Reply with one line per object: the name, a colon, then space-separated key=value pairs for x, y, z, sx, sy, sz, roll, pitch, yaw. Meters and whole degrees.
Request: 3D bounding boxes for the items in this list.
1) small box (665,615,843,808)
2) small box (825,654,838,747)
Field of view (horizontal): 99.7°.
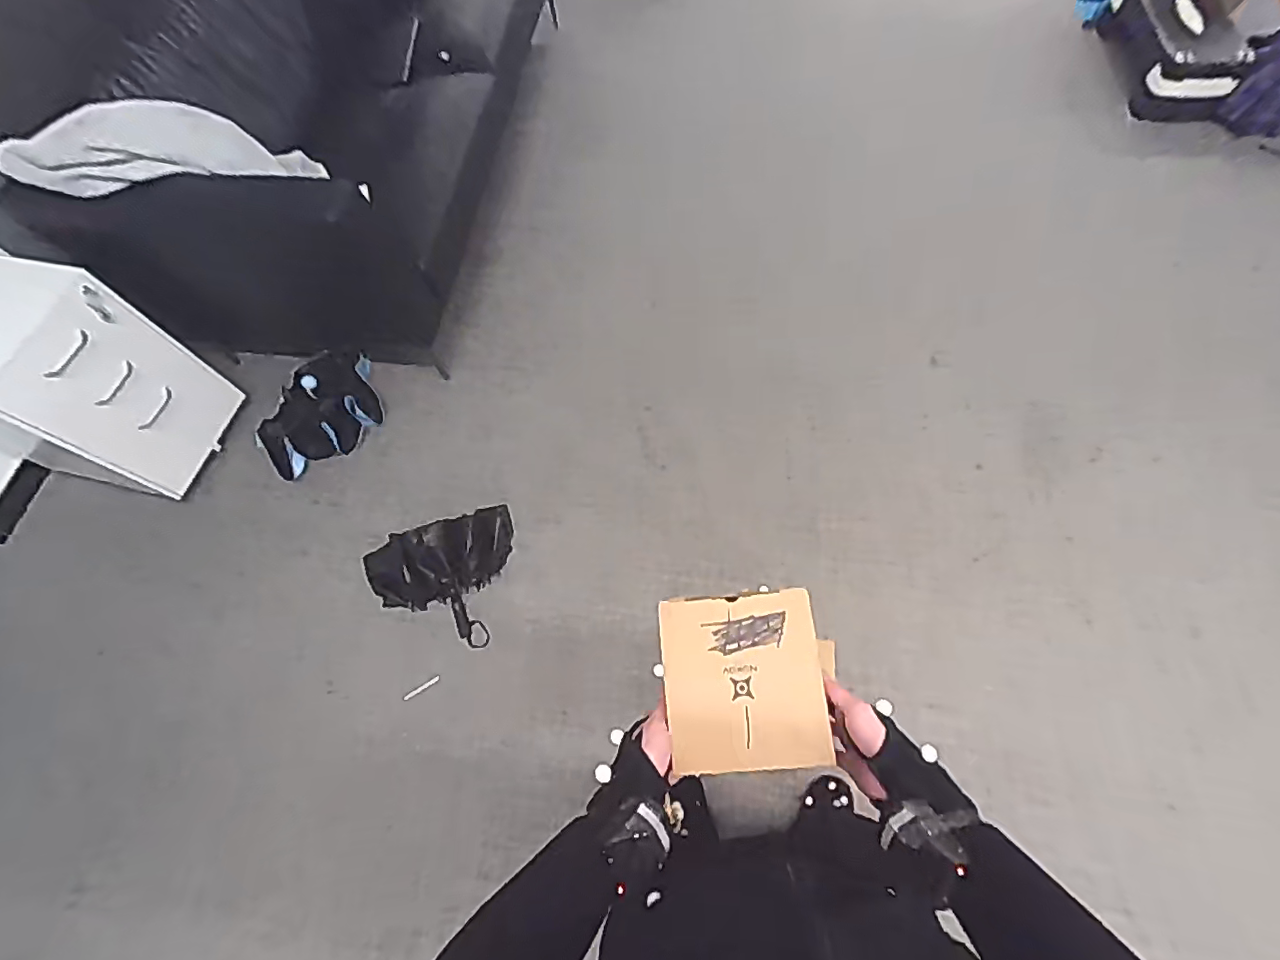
small box: x=0.113 y=0.250 z=0.612 sx=0.168 sy=0.176 sz=0.179 roll=-4 pitch=74 yaw=4
small box: x=0.309 y=0.458 z=1.133 sx=0.168 sy=0.176 sz=0.179 roll=4 pitch=65 yaw=5
